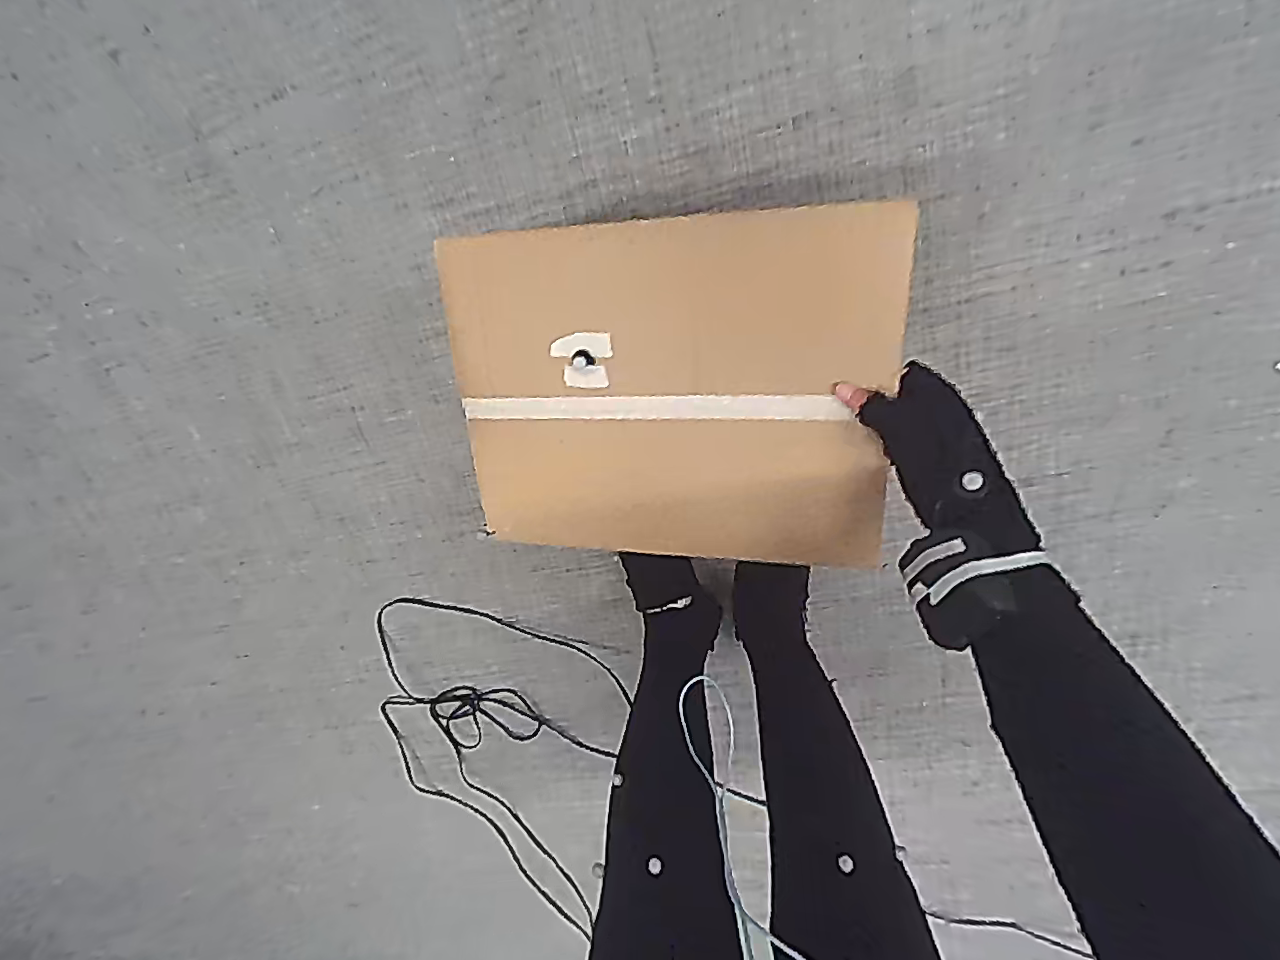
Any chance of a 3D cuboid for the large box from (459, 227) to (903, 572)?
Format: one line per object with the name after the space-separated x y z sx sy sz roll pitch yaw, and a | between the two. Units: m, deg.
0.068 -0.112 0.653 0.408 0.320 0.320 2 113 17 | large box
